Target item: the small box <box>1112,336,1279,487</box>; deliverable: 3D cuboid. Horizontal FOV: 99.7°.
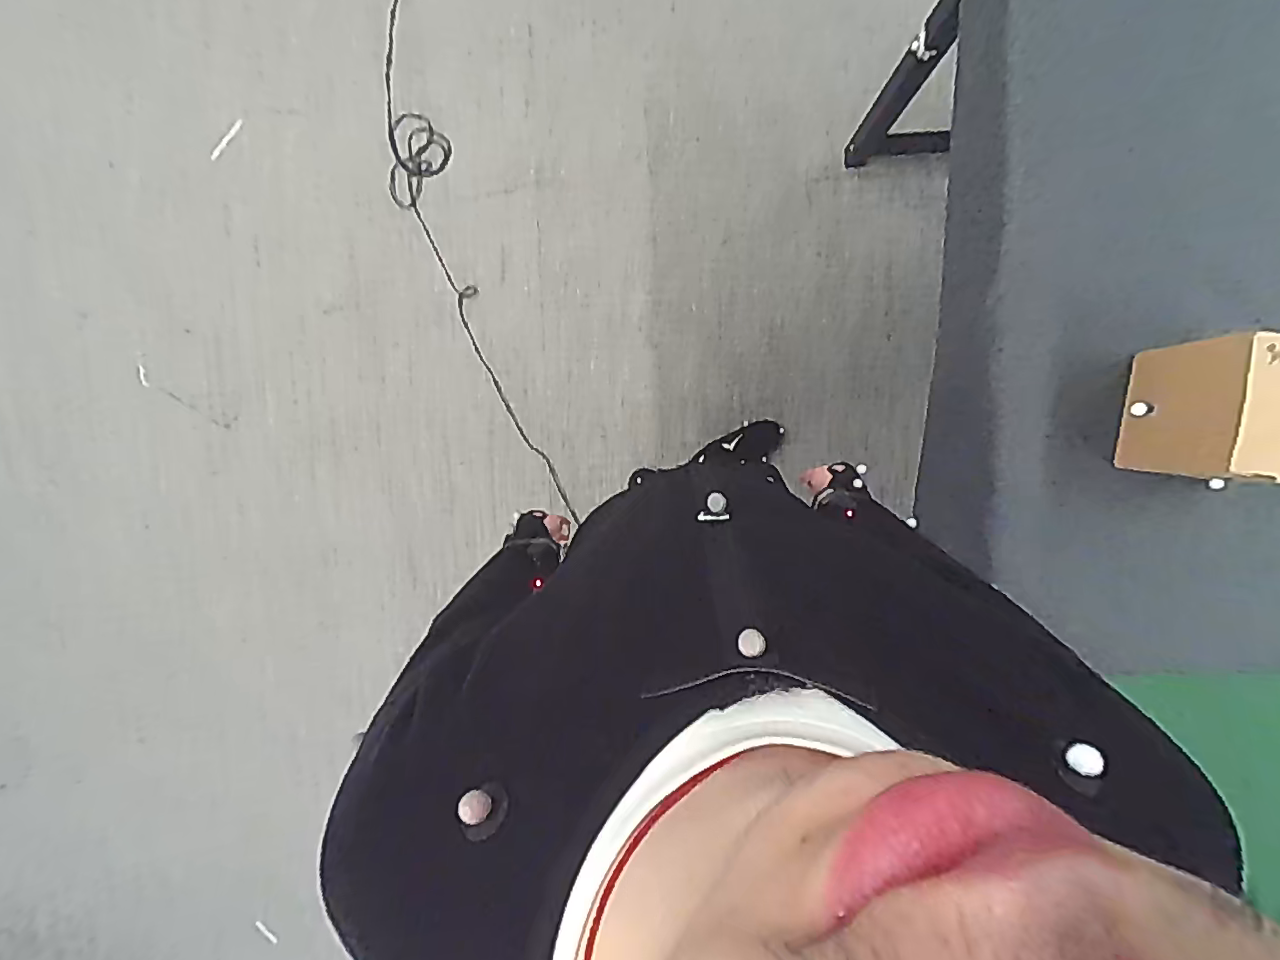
[{"bbox_3d":[0.805,-0.086,0.740,0.168,0.176,0.179,7,94,1],"label":"small box"}]
